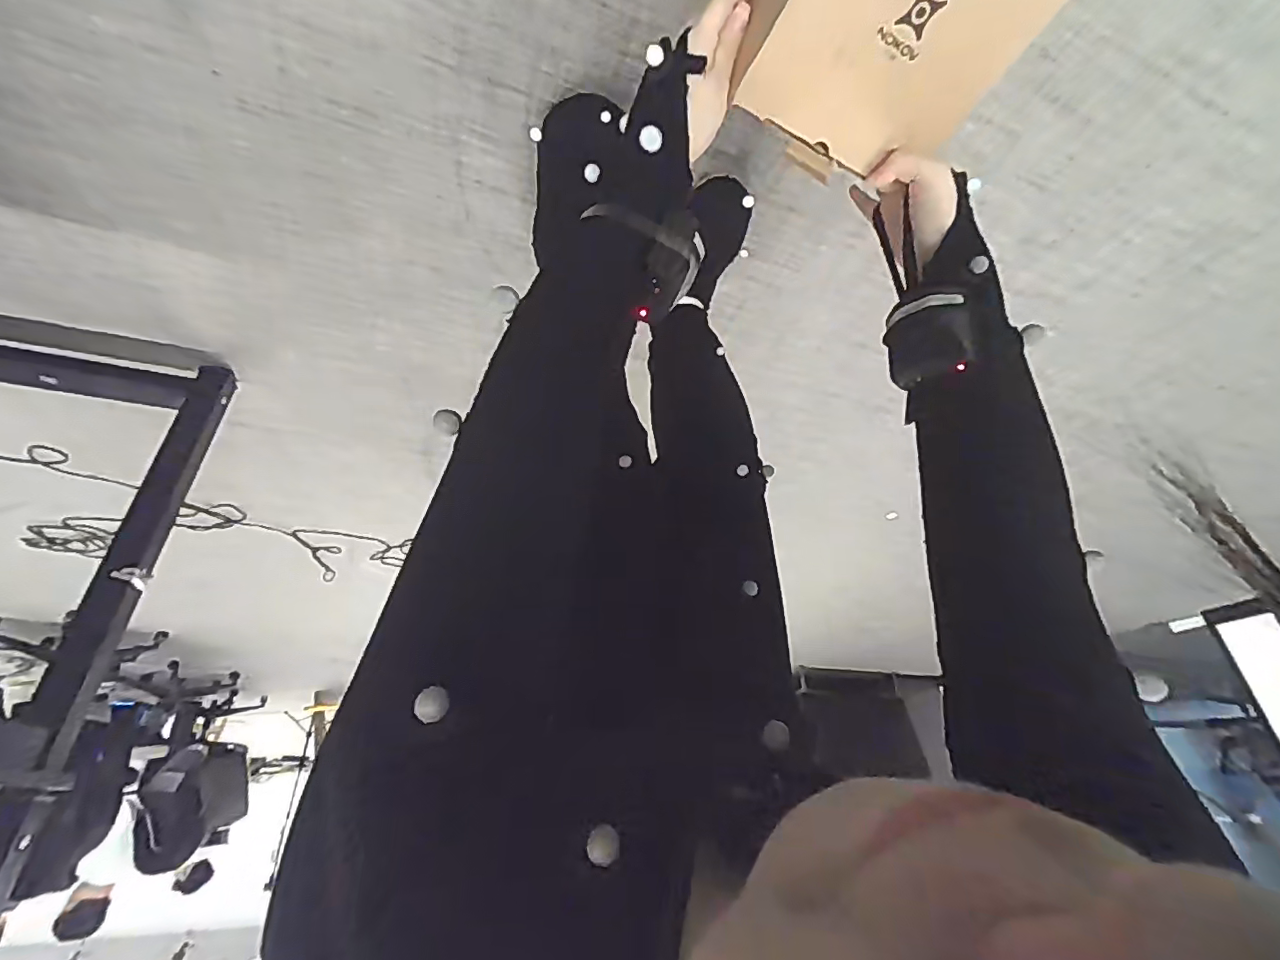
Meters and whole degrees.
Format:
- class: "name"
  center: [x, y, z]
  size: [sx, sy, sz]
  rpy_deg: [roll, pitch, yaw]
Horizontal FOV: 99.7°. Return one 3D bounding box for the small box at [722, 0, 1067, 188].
- class: "small box"
  center: [0.171, -0.363, 0.387]
  size: [0.168, 0.176, 0.179]
  rpy_deg: [14, 144, -22]
